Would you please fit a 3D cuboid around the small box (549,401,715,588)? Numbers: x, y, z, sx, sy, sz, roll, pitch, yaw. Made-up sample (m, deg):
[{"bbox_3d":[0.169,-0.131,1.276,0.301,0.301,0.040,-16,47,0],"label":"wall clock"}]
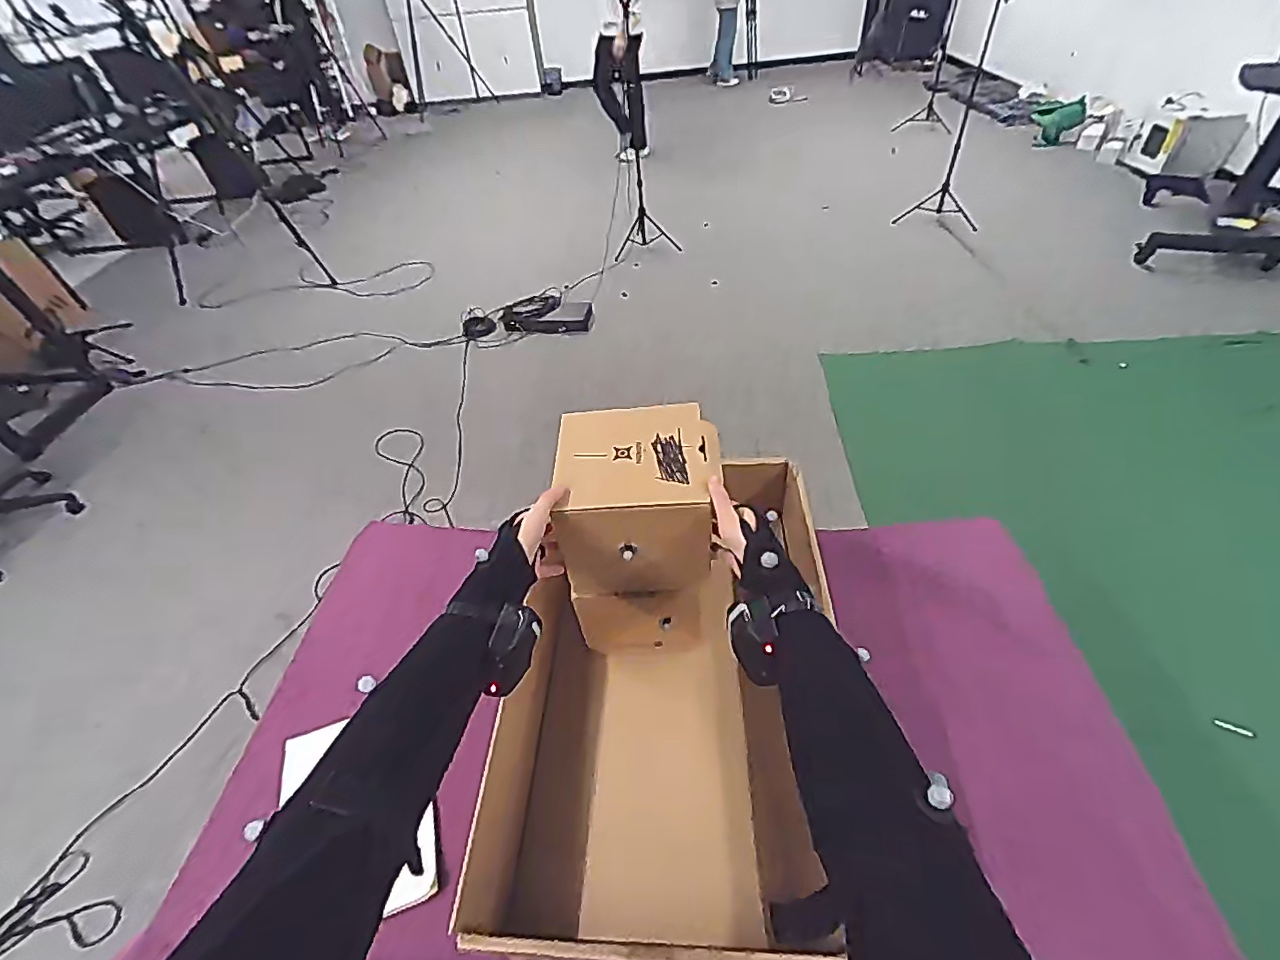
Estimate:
[{"bbox_3d":[-0.004,0.021,0.675,0.179,0.176,0.168,-3,46,3],"label":"small box"}]
